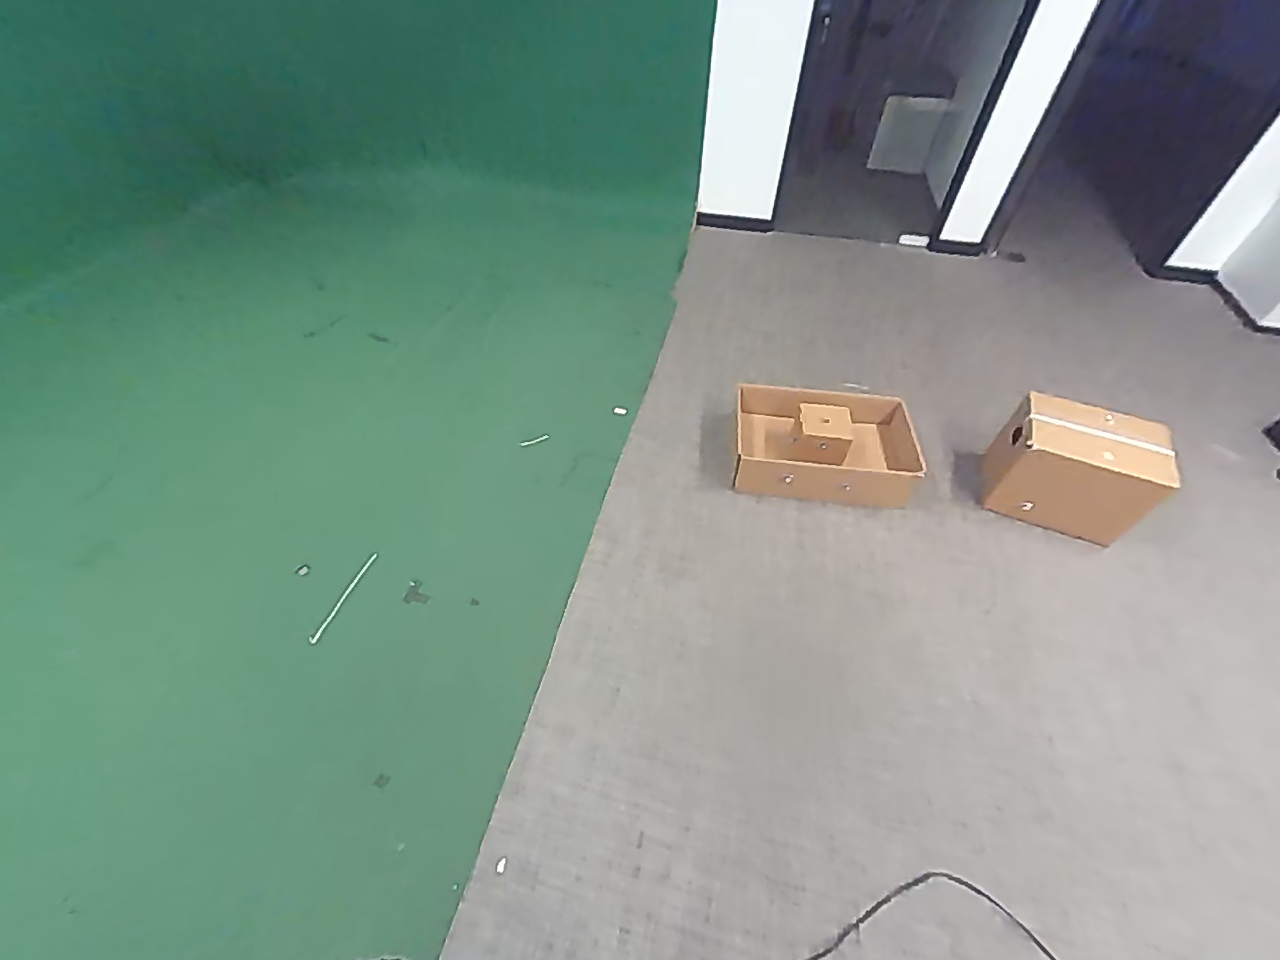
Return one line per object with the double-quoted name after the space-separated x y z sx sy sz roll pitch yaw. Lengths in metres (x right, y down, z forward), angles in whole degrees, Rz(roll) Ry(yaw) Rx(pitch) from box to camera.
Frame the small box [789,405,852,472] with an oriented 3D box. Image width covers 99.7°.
0.644 -0.149 1.954 0.179 0.176 0.168 8 49 3 "small box"
